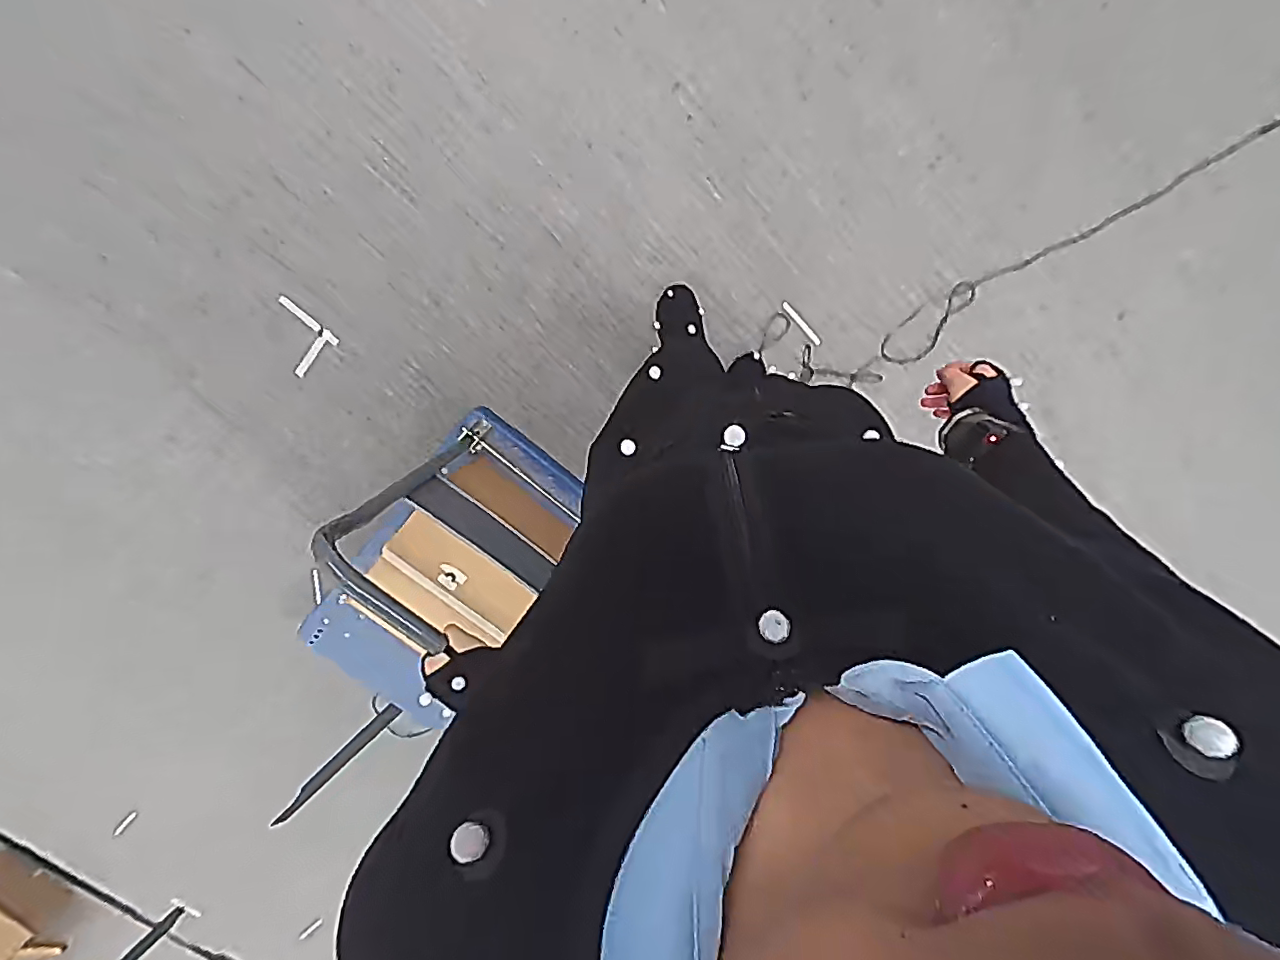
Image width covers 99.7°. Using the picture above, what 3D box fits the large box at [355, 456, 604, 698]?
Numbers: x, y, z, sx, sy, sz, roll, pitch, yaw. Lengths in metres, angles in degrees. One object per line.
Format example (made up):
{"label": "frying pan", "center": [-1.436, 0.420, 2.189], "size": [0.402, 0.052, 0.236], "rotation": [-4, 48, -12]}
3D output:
{"label": "large box", "center": [-0.344, 0.211, 1.266], "size": [0.408, 0.320, 0.320], "rotation": [40, 104, -9]}
